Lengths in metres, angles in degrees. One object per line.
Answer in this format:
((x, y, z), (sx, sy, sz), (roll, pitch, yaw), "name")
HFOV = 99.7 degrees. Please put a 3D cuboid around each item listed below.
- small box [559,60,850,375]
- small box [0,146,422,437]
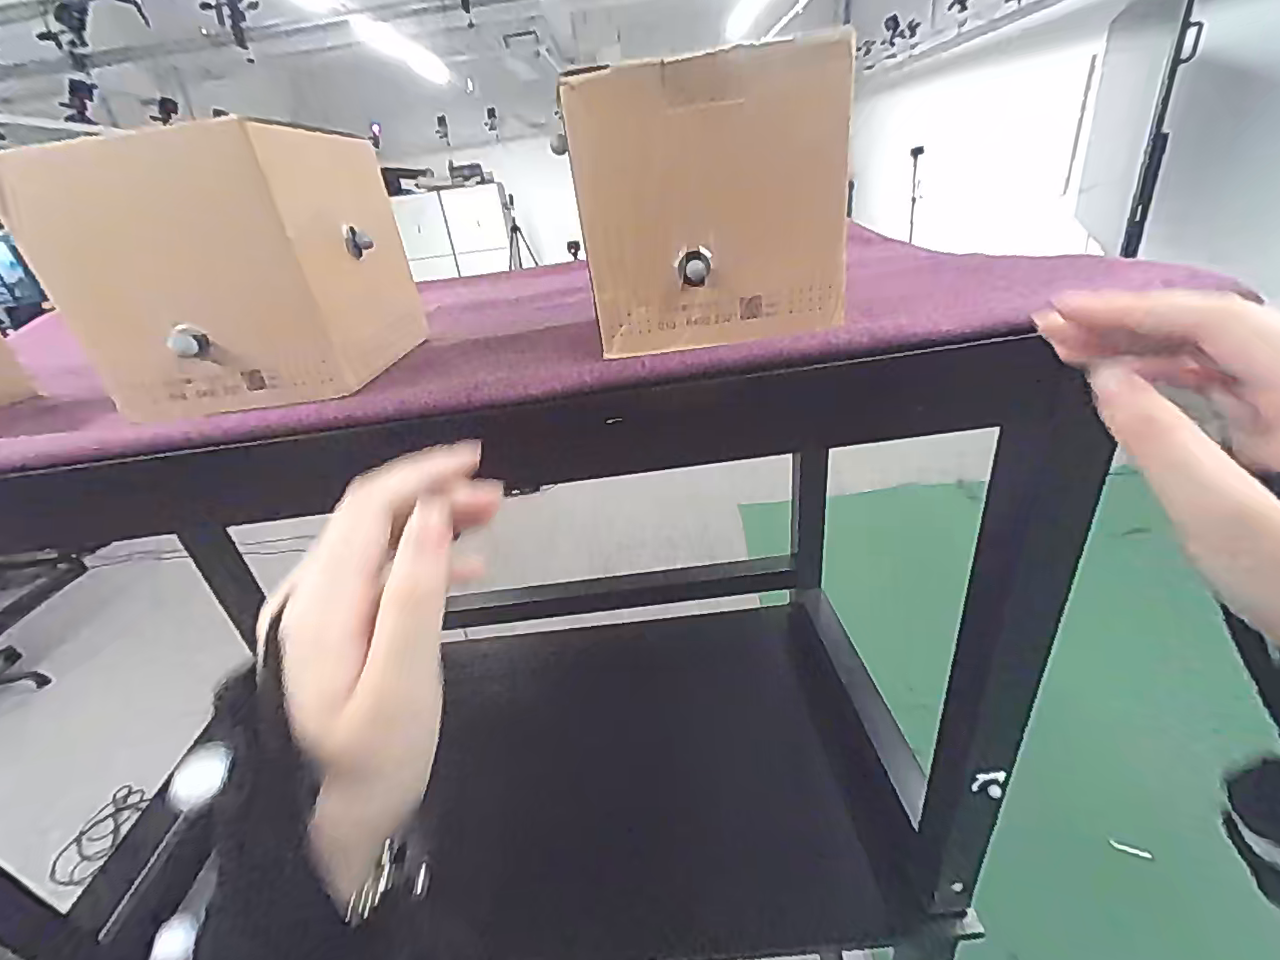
((0.045, -0.191, 0.411), (0.168, 0.176, 0.179), (-6, 30, 4), "small box")
((-0.291, -0.148, 0.420), (0.168, 0.176, 0.179), (-7, 30, 3), "small box")
